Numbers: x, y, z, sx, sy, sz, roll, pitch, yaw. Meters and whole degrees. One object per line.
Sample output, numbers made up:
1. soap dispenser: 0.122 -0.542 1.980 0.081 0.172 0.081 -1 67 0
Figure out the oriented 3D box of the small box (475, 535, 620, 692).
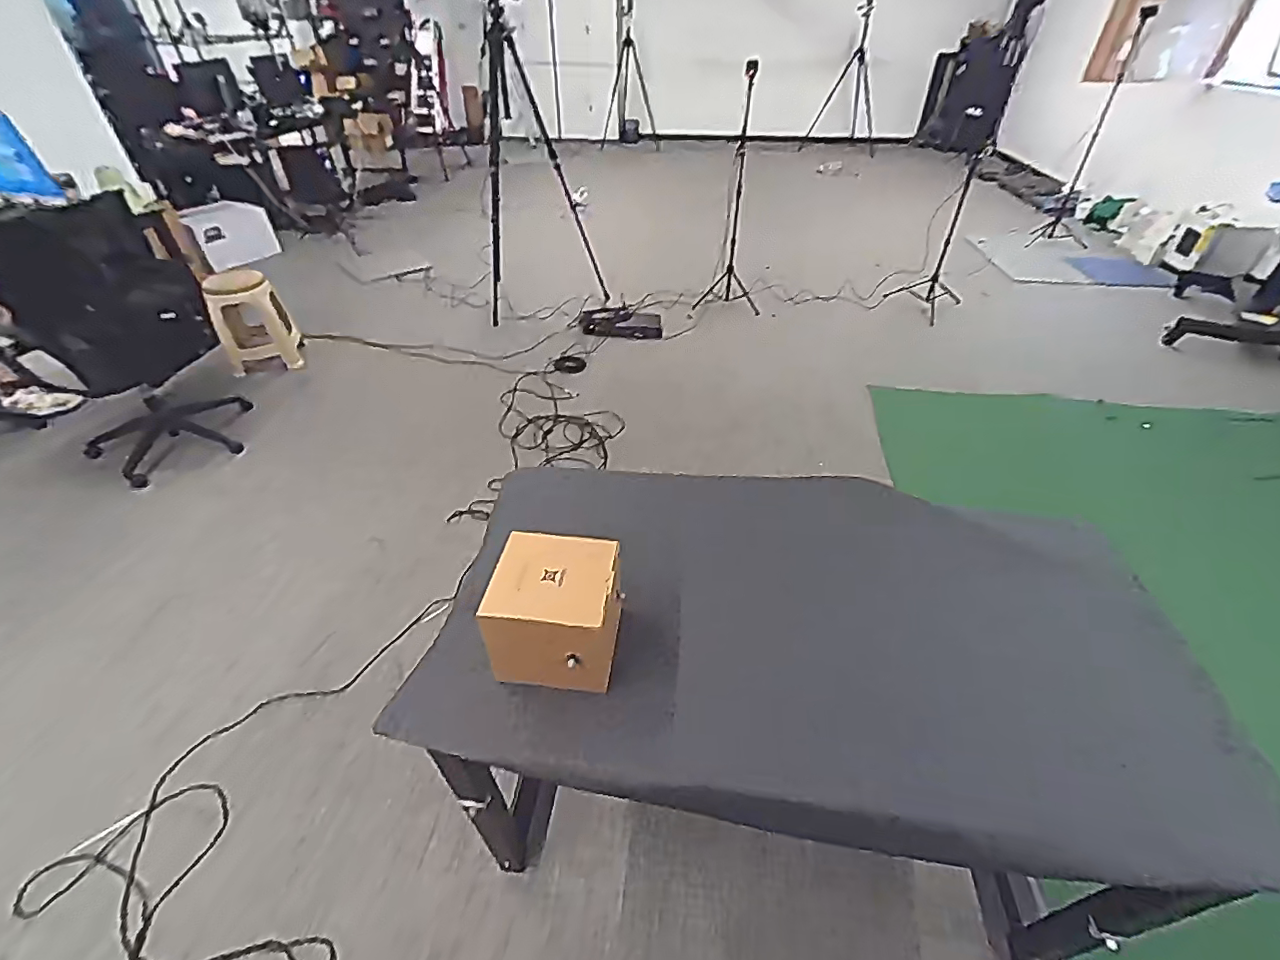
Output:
1. small box: -0.128 0.206 0.835 0.179 0.176 0.168 3 38 6
